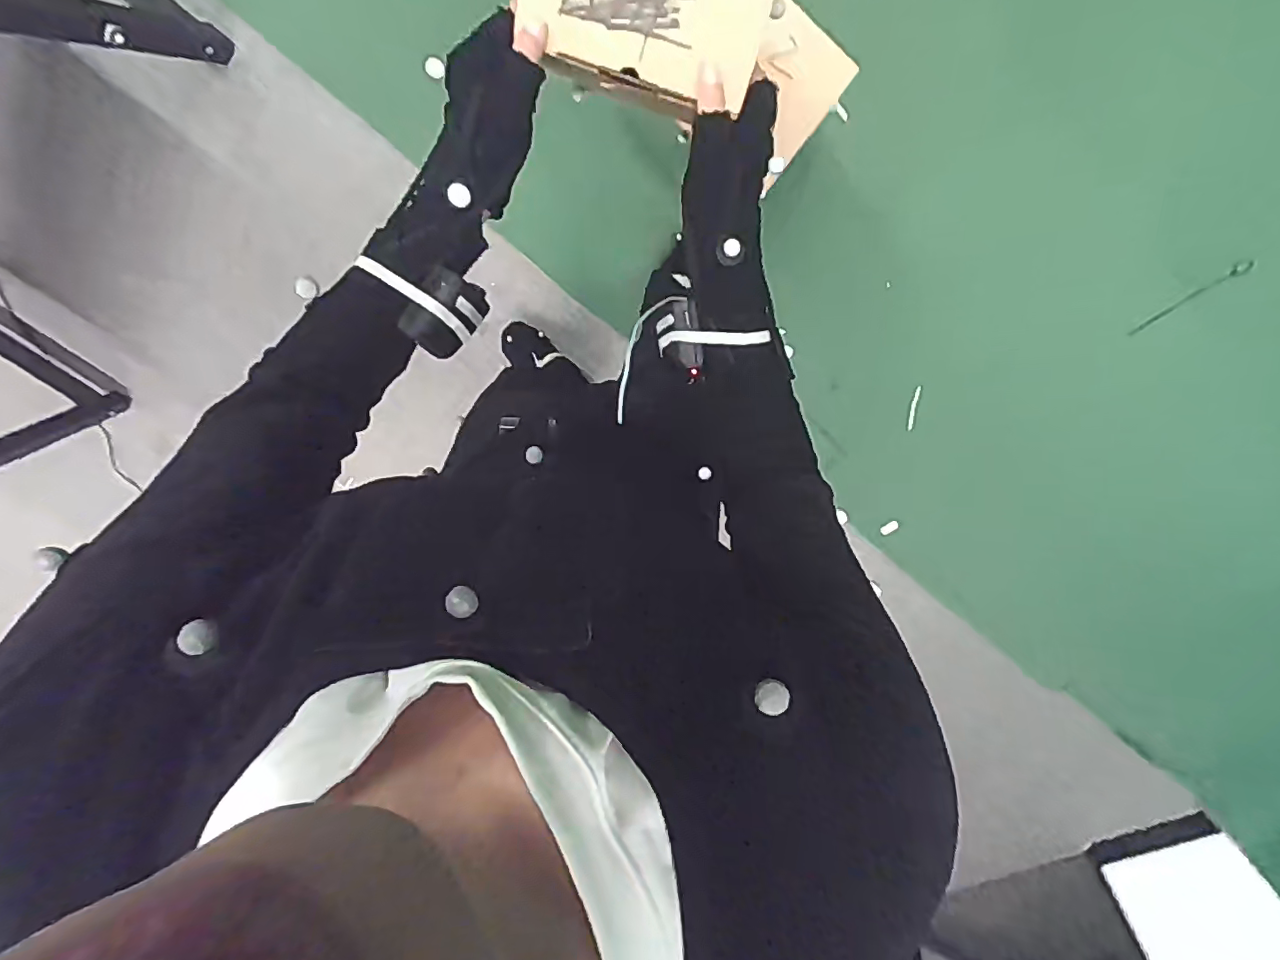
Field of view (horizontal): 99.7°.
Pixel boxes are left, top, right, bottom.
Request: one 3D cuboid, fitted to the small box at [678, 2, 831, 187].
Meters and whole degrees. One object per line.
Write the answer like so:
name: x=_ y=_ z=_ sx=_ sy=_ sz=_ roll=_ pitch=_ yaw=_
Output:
small box: x=0.179 y=-0.621 z=0.890 sx=0.168 sy=0.176 sz=0.179 roll=34 pitch=121 yaw=-14
